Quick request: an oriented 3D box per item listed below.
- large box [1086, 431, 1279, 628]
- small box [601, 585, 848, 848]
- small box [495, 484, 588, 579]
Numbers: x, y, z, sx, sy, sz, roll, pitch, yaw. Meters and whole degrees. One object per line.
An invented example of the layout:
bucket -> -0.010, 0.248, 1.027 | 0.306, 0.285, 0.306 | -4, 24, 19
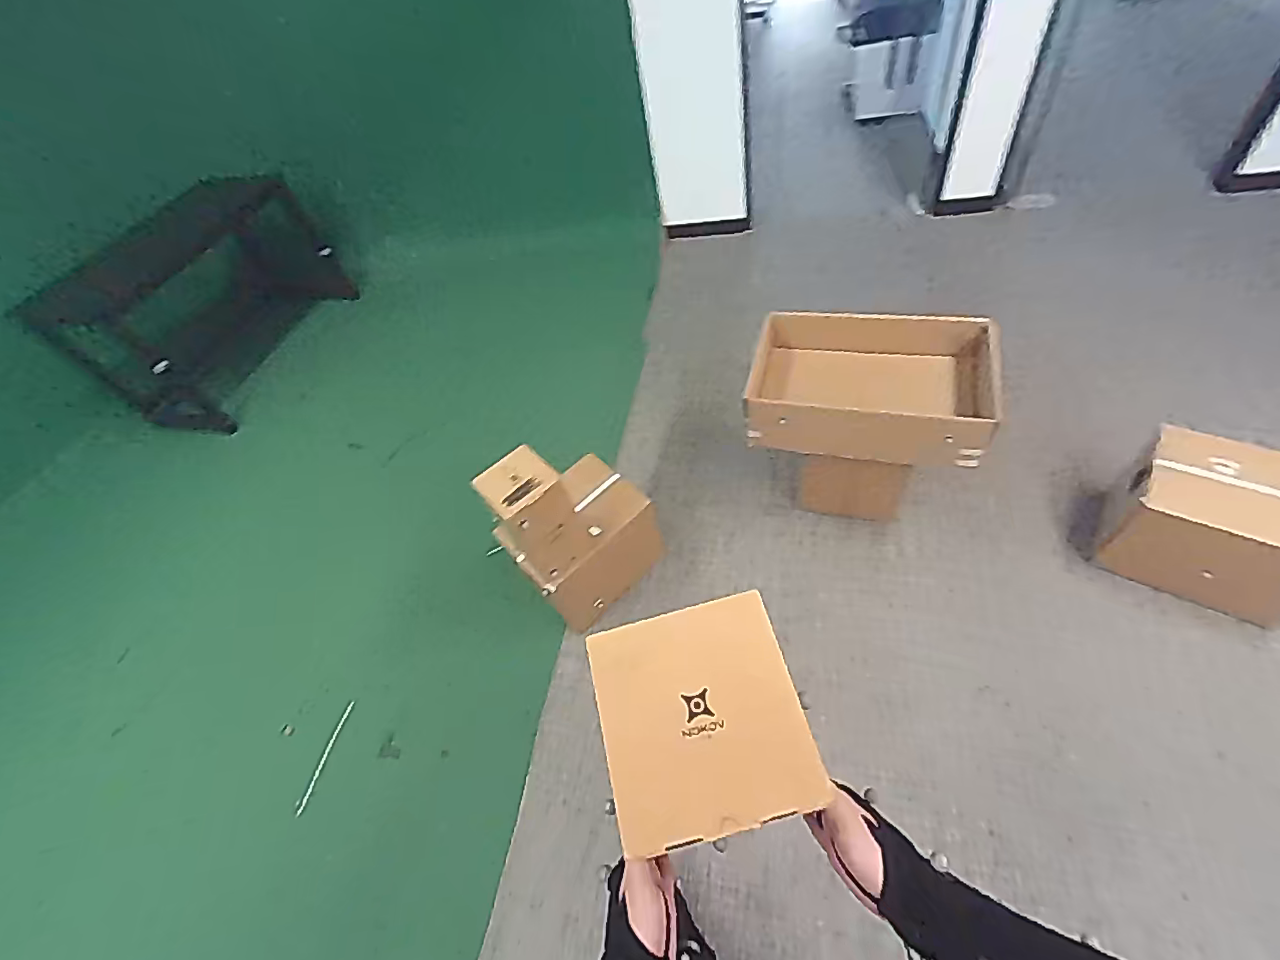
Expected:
large box -> 1.519, 0.128, 1.442 | 0.408, 0.320, 0.320 | 23, 60, 29
small box -> 0.068, 0.226, 0.513 | 0.168, 0.176, 0.179 | -15, 58, 0
small box -> -0.269, 0.152, 1.511 | 0.168, 0.176, 0.179 | -37, 54, -18
